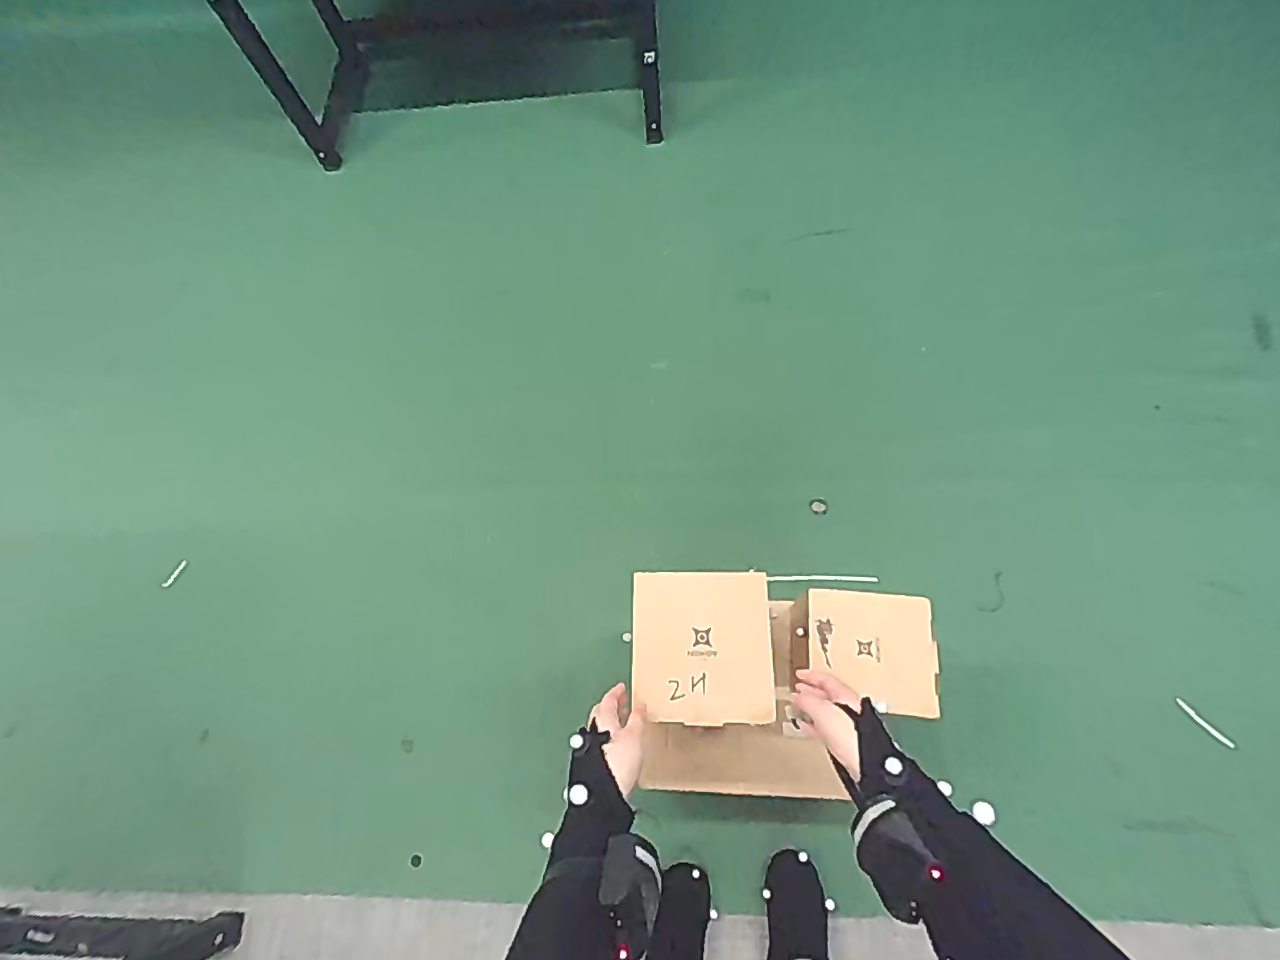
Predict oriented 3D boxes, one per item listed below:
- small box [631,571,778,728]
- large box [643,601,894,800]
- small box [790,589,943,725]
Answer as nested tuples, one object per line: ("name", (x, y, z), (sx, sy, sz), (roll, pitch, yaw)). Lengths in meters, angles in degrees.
("small box", (0.078, 0.222, 0.704), (0.168, 0.176, 0.179), (-1, 68, 5))
("large box", (0.215, 0.417, 1.053), (0.408, 0.320, 0.320), (0, 69, 5))
("small box", (0.337, 0.273, 0.833), (0.179, 0.176, 0.168), (5, 68, 7))
